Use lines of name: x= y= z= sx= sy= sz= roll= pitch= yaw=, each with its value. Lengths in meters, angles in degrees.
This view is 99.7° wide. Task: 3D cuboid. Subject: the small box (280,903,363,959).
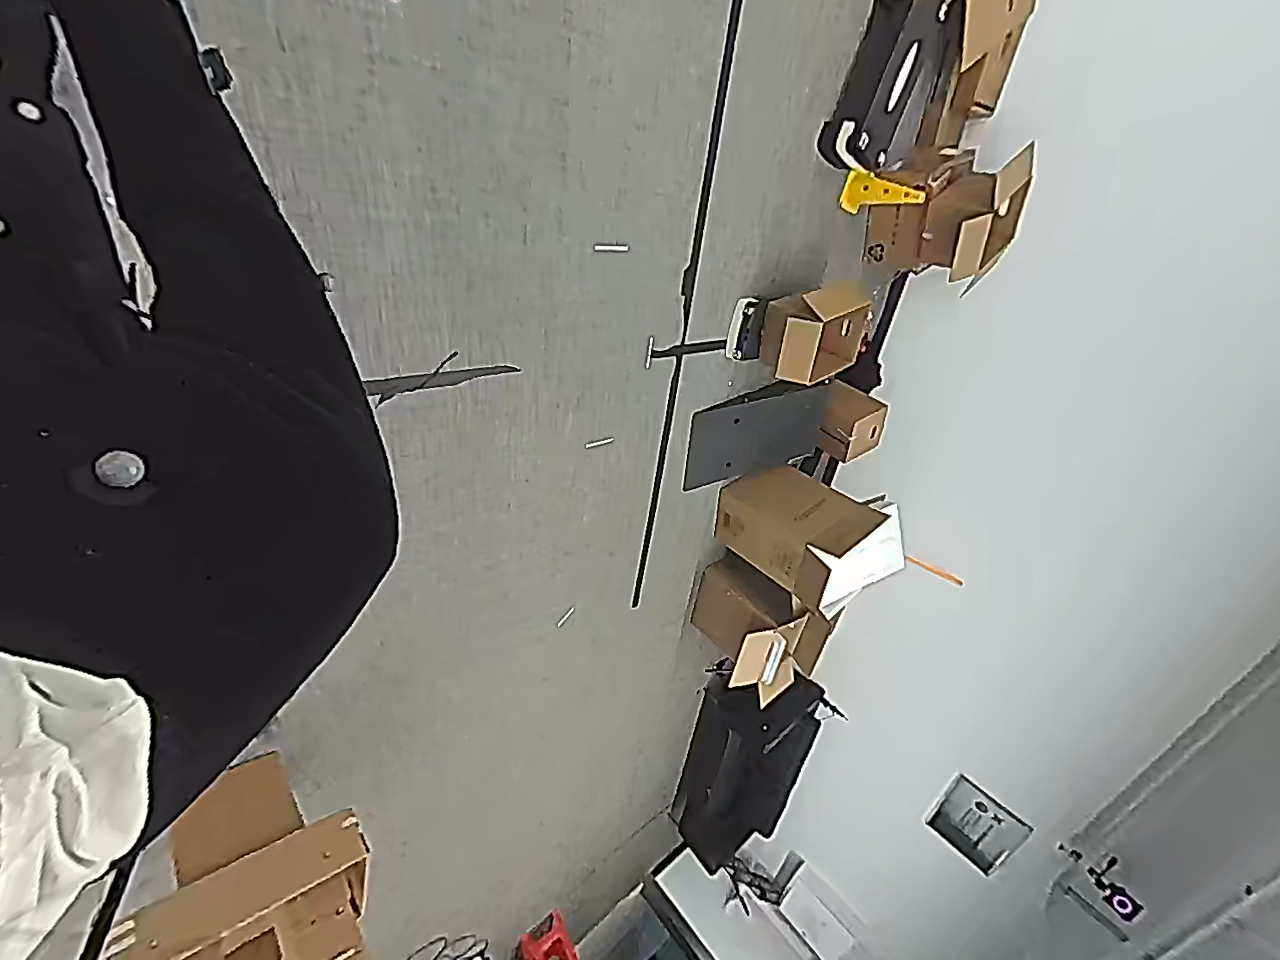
small box: x=-0.970 y=1.440 z=1.639 sx=0.168 sy=0.176 sz=0.179 roll=0 pitch=119 yaw=-48
